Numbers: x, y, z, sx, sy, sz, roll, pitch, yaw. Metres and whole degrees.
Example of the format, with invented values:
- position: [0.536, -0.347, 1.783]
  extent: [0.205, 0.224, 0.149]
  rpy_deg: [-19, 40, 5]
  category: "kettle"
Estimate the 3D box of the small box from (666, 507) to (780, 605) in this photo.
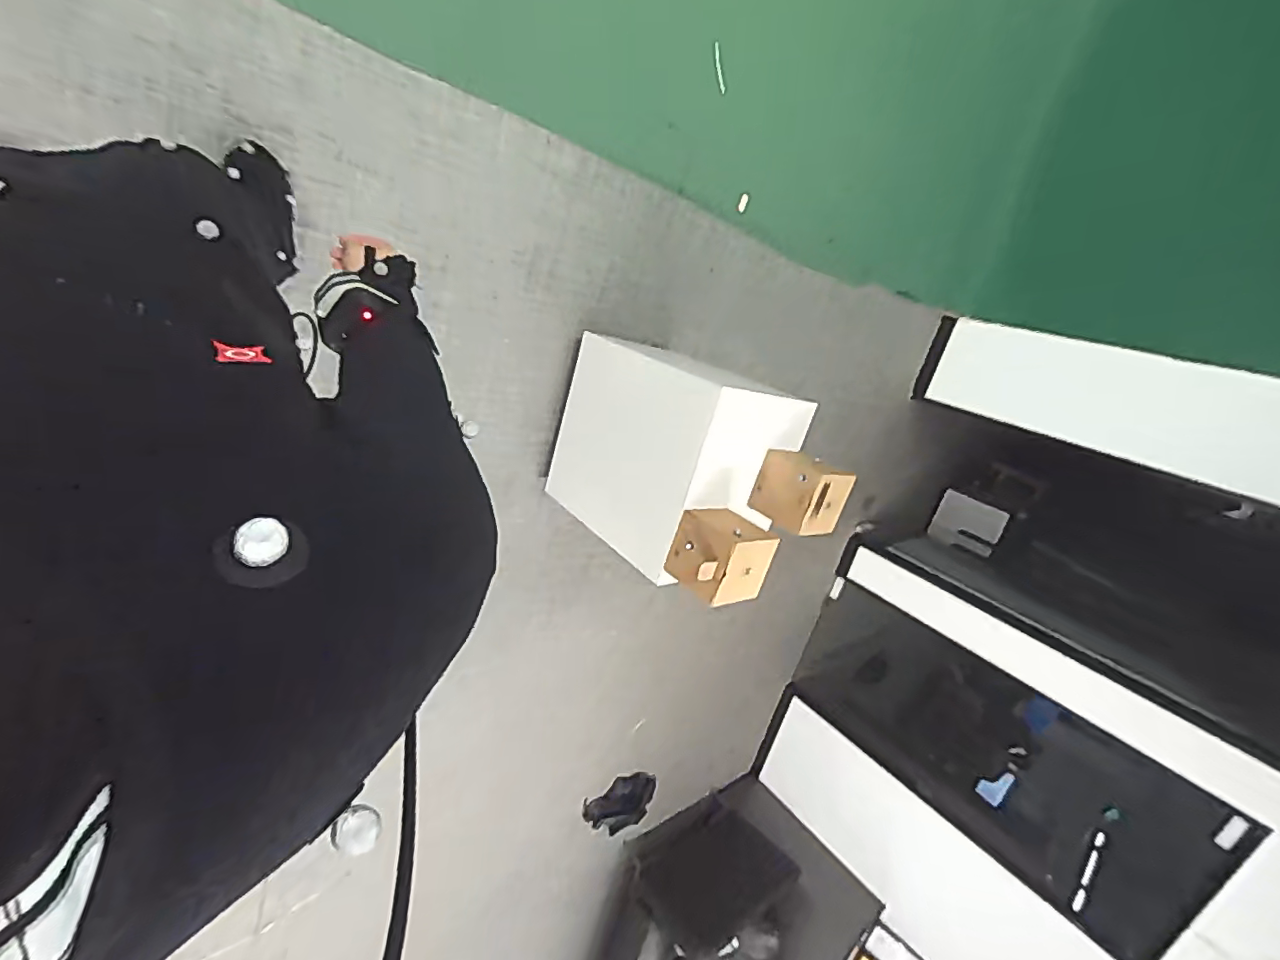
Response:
- position: [0.194, 0.172, 1.284]
  extent: [0.179, 0.176, 0.168]
  rpy_deg: [1, 113, -43]
  category: "small box"
